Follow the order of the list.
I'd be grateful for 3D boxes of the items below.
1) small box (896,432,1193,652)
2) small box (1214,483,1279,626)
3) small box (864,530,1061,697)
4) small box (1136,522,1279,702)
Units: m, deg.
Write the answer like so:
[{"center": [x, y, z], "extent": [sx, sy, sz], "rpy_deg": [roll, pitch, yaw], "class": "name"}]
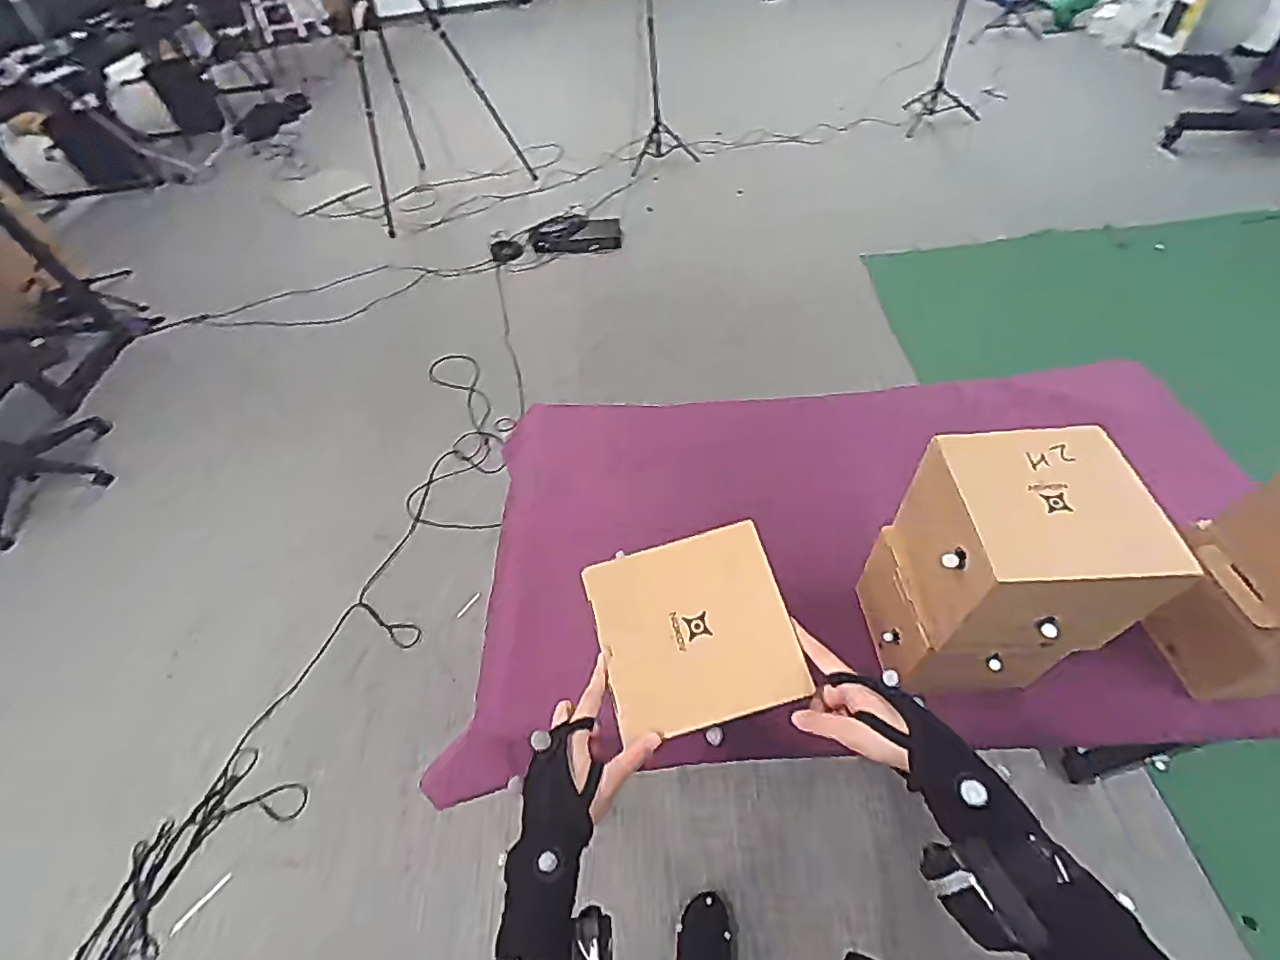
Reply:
[{"center": [0.395, 0.073, 0.573], "extent": [0.168, 0.176, 0.179], "rpy_deg": [-3, 51, 5], "class": "small box"}, {"center": [0.743, 0.071, 0.523], "extent": [0.168, 0.176, 0.179], "rpy_deg": [-6, 50, 5], "class": "small box"}, {"center": [0.406, 0.173, 0.703], "extent": [0.179, 0.176, 0.168], "rpy_deg": [-5, 50, 4], "class": "small box"}, {"center": [0.763, 0.159, 0.661], "extent": [0.179, 0.176, 0.168], "rpy_deg": [-7, 51, 2], "class": "small box"}]
